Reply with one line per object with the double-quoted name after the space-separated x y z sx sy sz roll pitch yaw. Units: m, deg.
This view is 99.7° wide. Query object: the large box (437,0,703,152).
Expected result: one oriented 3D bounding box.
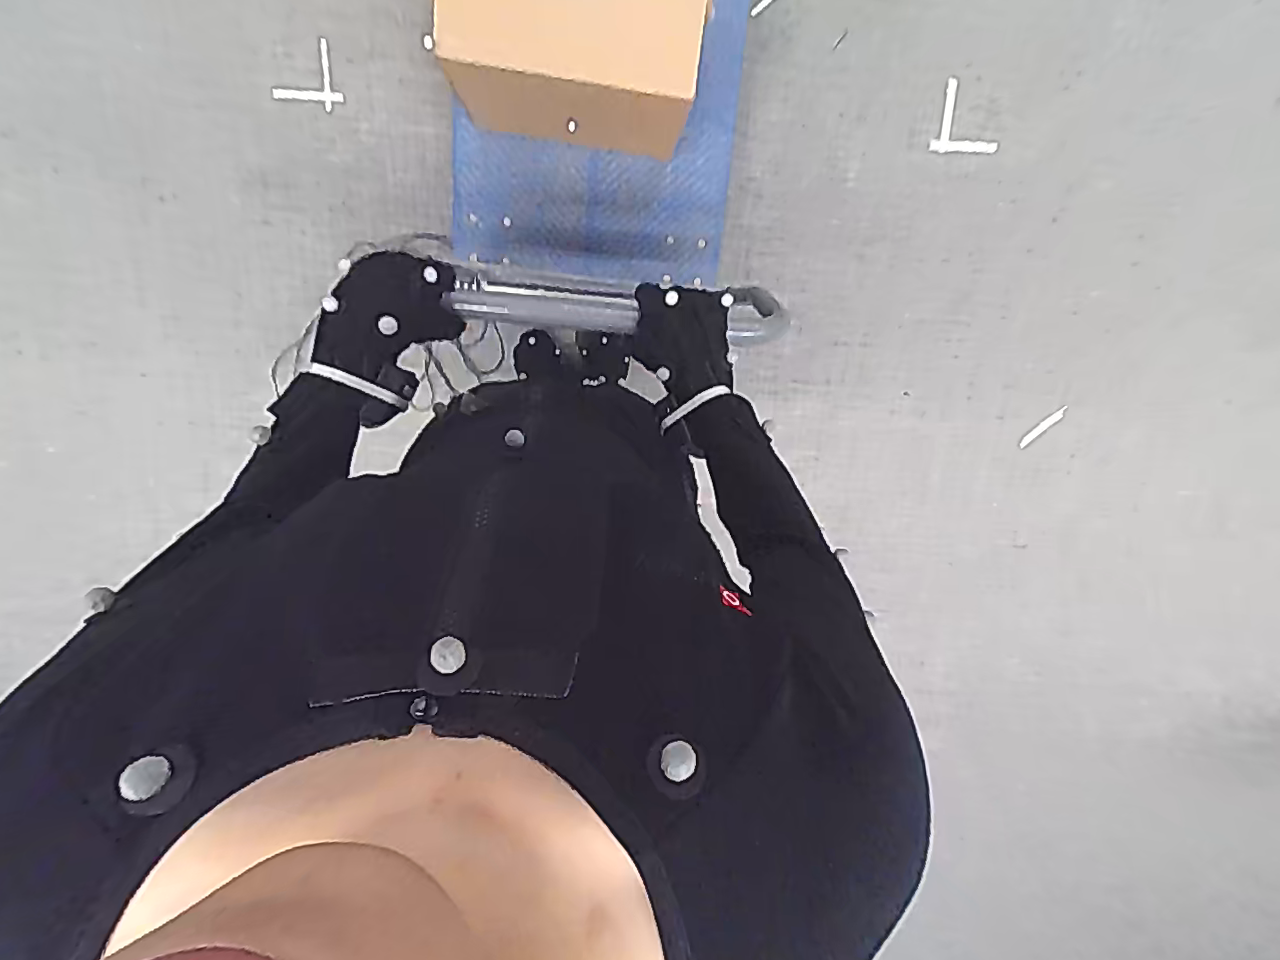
-0.103 -0.810 0.944 0.408 0.320 0.320 6 104 -5 "large box"
